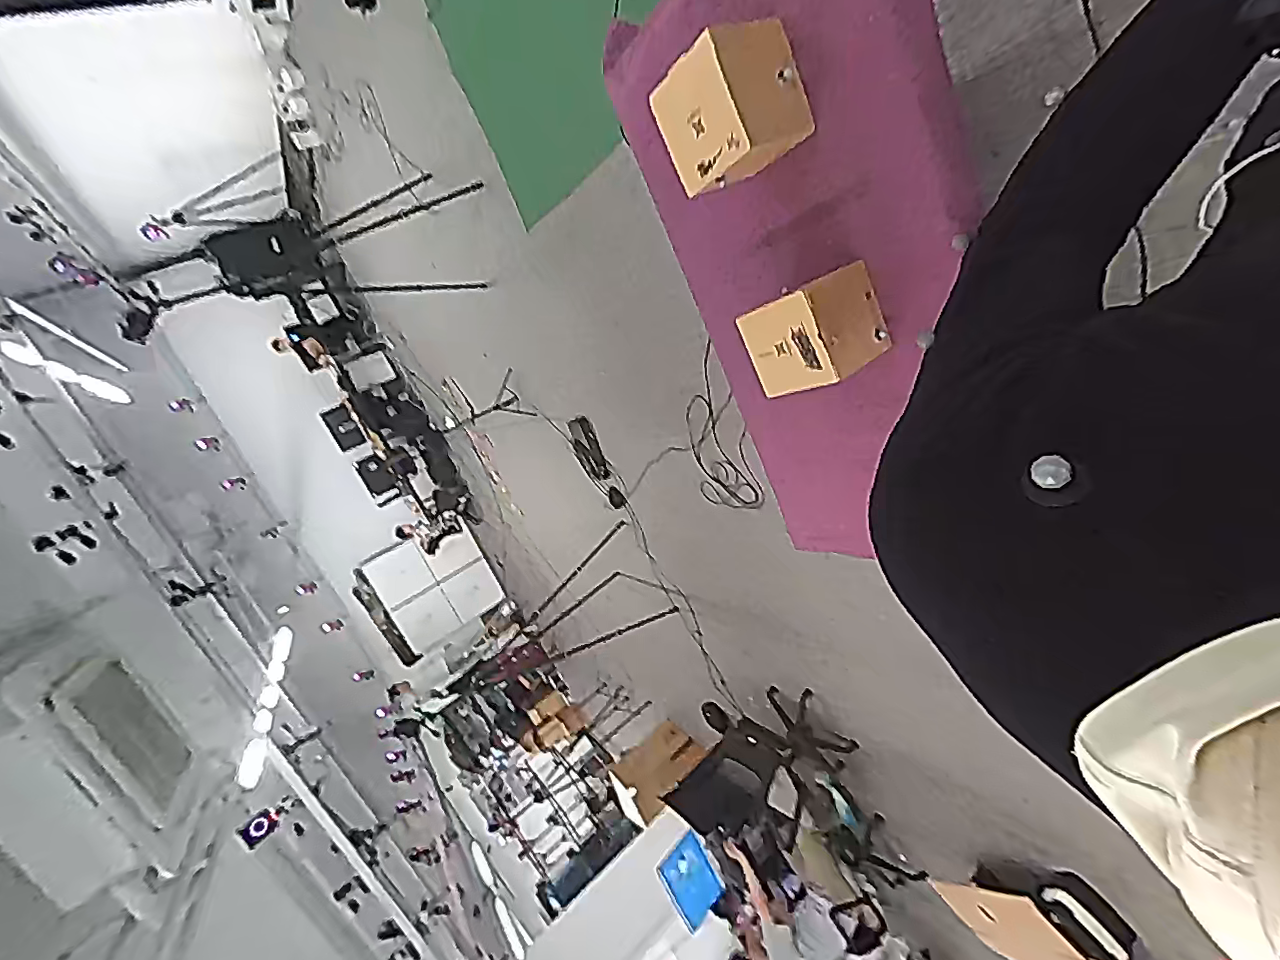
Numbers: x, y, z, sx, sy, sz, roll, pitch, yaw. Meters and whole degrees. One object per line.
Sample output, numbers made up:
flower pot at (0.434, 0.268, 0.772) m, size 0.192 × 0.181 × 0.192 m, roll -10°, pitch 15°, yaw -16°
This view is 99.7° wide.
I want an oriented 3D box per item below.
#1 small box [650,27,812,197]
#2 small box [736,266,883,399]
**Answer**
small box at (0.152, -0.611, 0.902) m, size 0.168 × 0.176 × 0.179 m, roll -1°, pitch 118°, yaw 59°
small box at (0.316, -0.267, 0.992) m, size 0.179 × 0.176 × 0.168 m, roll -3°, pitch 116°, yaw 61°
